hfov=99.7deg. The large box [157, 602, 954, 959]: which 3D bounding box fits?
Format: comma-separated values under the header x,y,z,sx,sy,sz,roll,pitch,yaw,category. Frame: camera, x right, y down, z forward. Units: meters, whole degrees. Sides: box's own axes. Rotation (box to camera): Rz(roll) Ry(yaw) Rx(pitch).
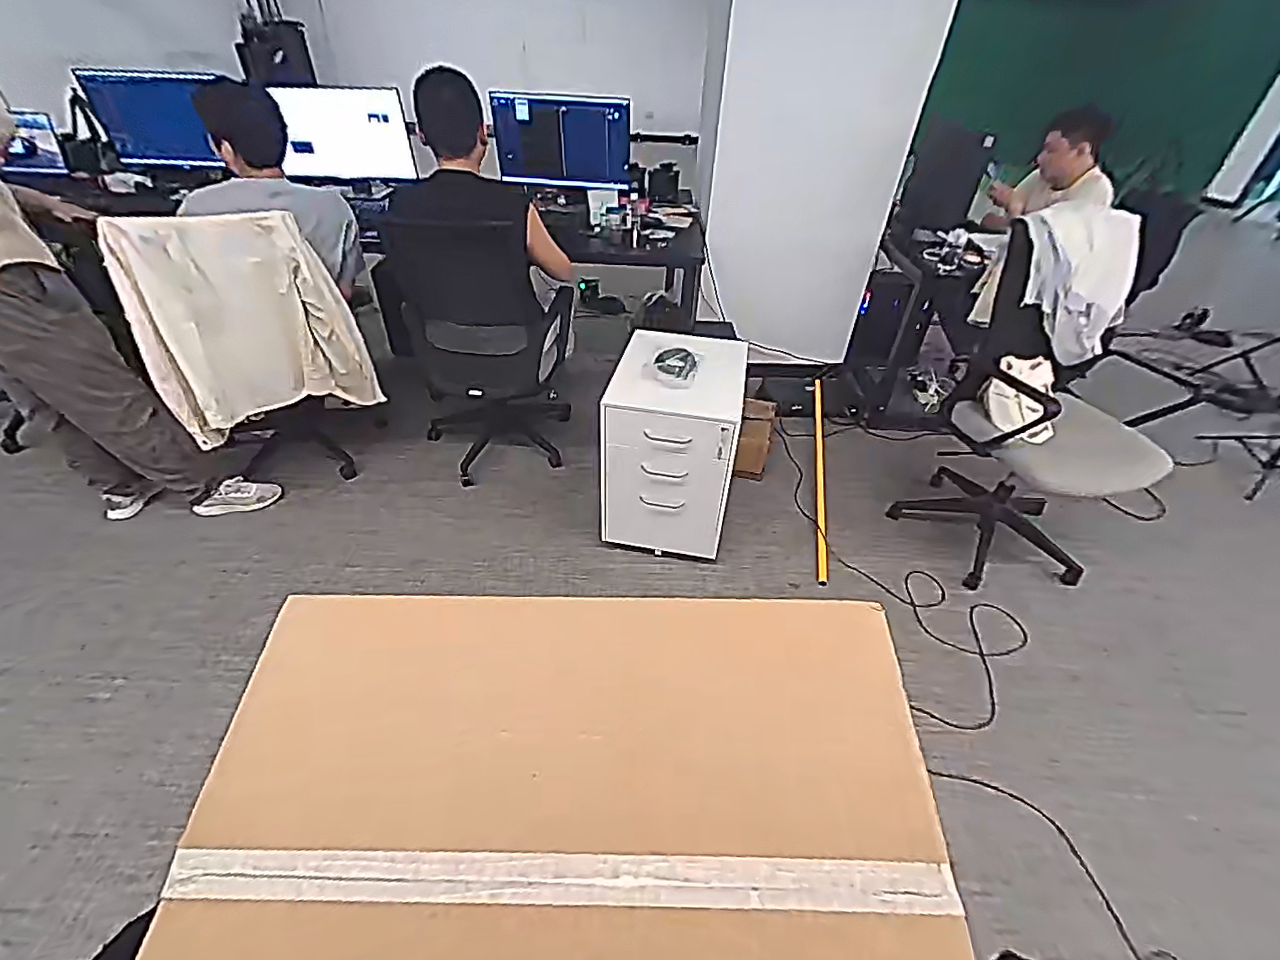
x,y,z,sx,sy,sz,roll,pitch,yaw,category
-0.041,0.299,0.409,0.408,0.320,0.320,0,55,2,large box
